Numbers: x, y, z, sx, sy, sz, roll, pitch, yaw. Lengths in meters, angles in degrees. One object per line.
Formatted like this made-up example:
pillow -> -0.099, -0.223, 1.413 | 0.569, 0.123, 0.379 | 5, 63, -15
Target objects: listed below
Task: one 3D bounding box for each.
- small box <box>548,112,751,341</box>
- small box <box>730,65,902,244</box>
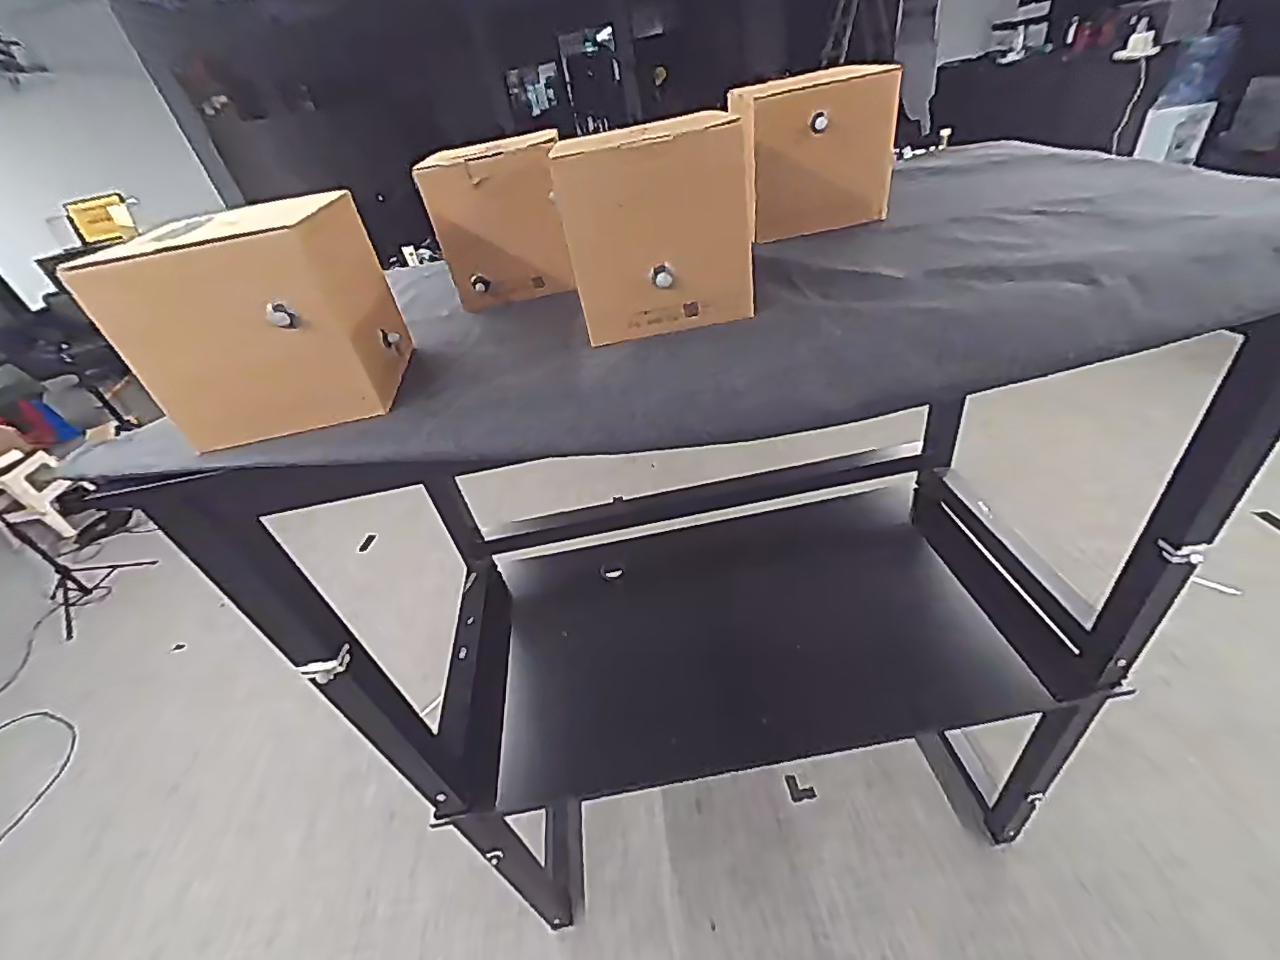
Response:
small box -> 0.014, -0.261, 0.556 | 0.168, 0.176, 0.179 | -10, 36, 4
small box -> 0.226, -0.440, 0.733 | 0.179, 0.176, 0.168 | -10, 37, 4
